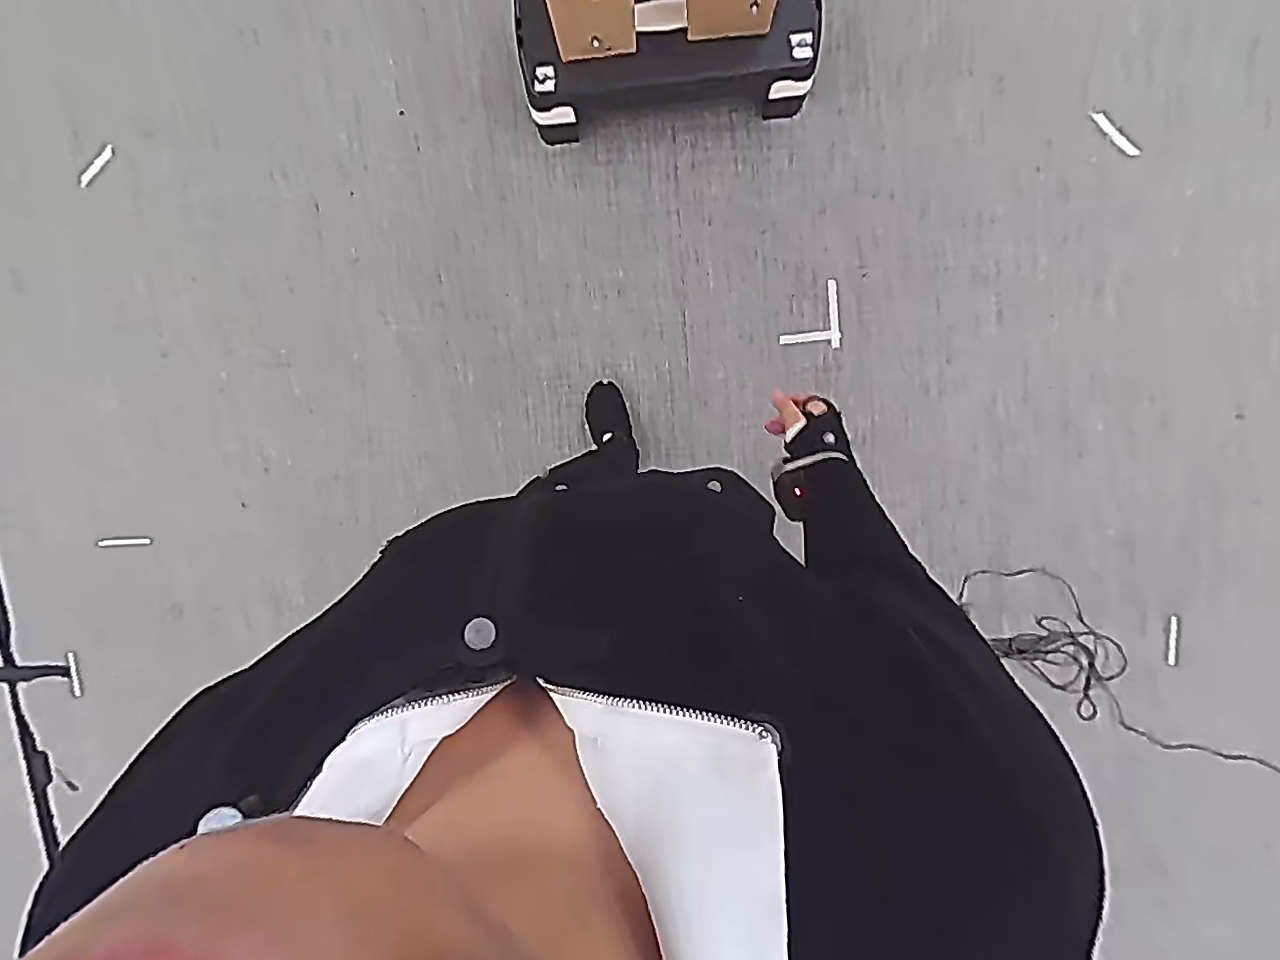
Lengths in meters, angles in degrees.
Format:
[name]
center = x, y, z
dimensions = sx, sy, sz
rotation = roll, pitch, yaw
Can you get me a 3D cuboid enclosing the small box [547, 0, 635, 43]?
[small box]
center = -0.100, -0.994, 1.084
dimensions = 0.168, 0.176, 0.179
rotation = -5, 96, 3
